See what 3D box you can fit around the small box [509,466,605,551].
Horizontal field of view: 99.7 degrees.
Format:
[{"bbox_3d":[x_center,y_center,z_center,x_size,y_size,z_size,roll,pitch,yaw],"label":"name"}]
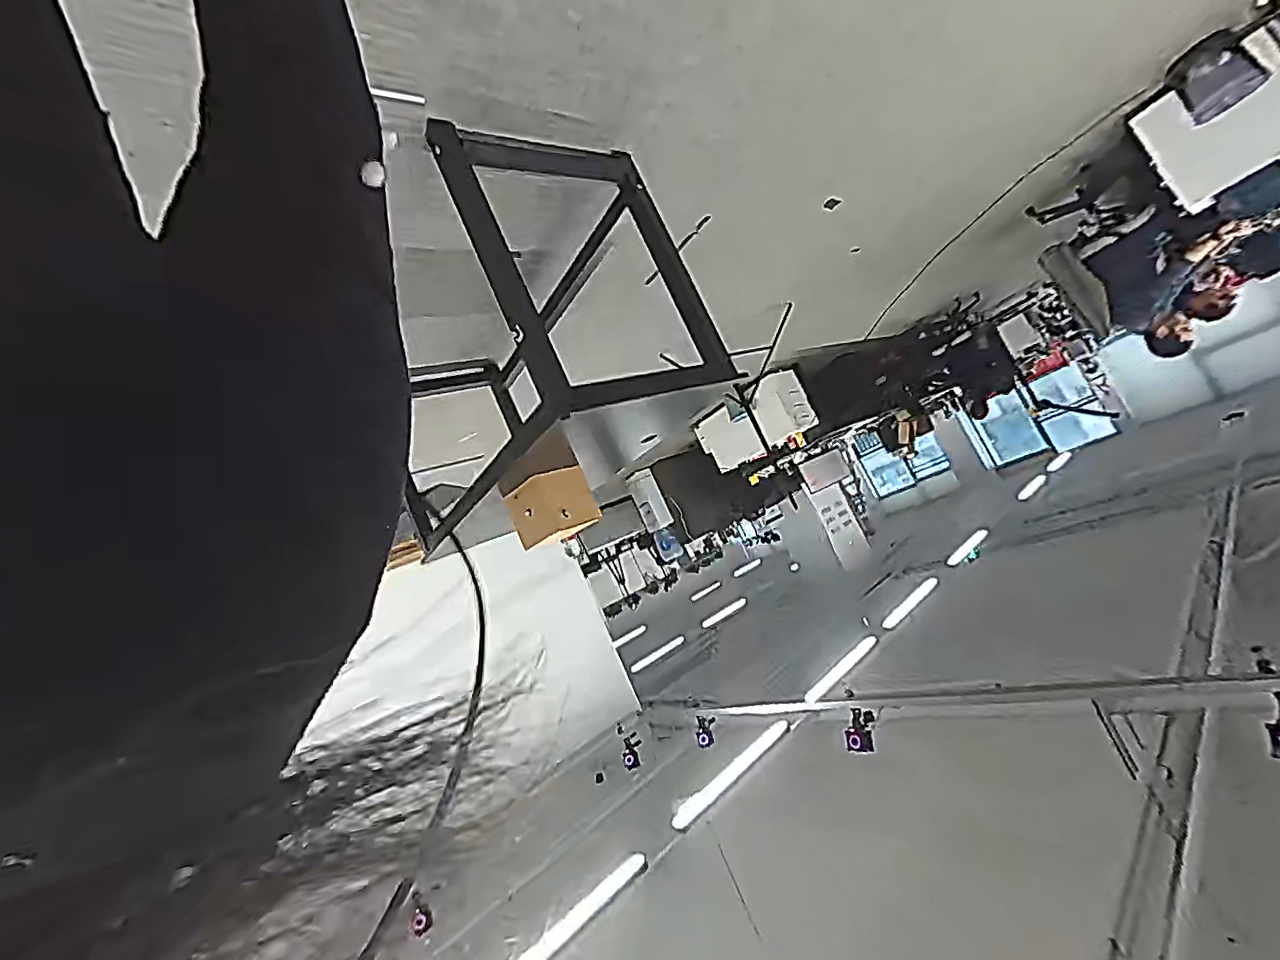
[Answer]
[{"bbox_3d":[-0.238,0.076,1.528,0.168,0.176,0.179,-31,171,39],"label":"small box"}]
